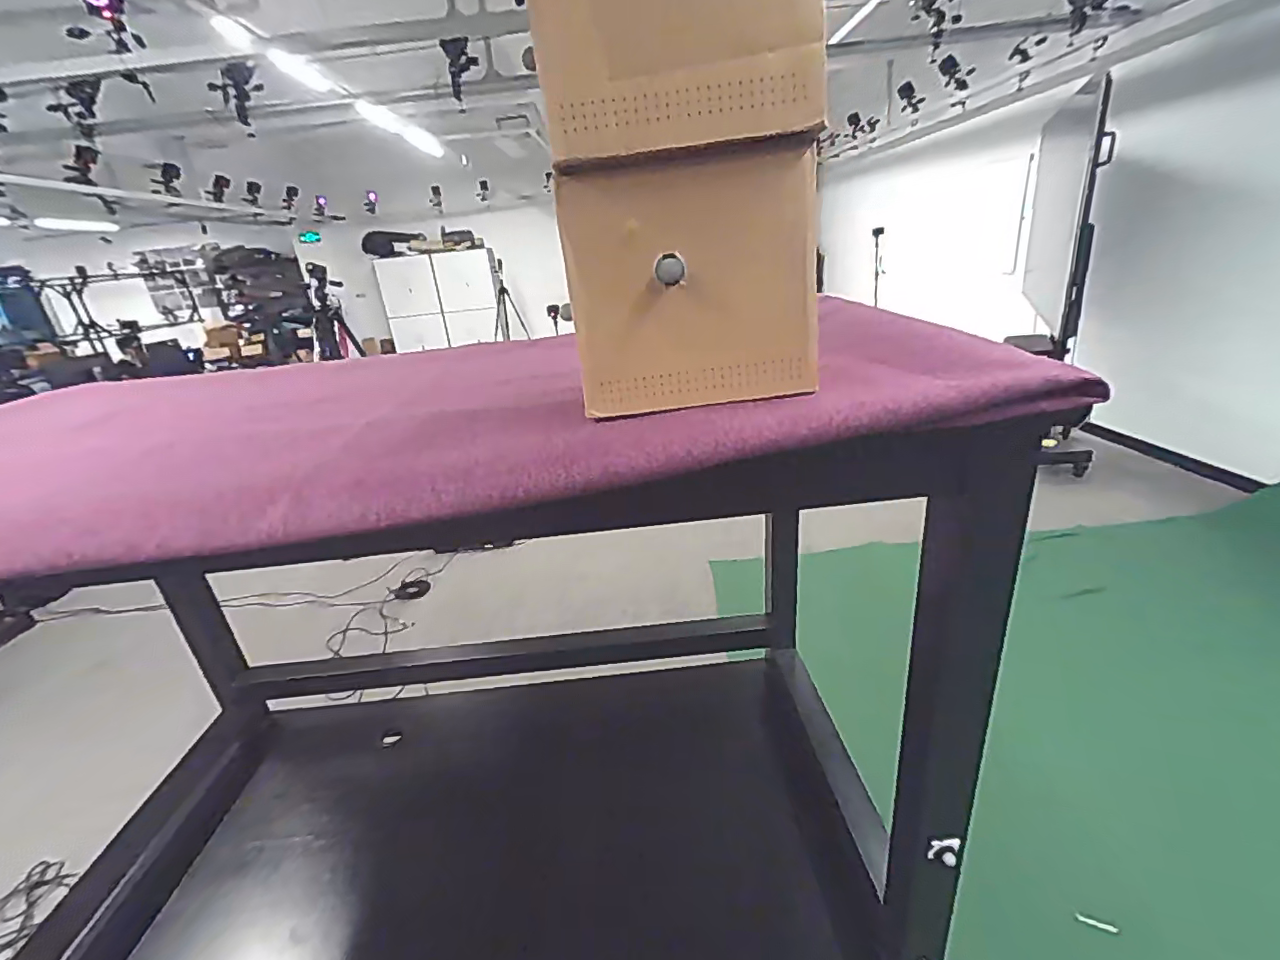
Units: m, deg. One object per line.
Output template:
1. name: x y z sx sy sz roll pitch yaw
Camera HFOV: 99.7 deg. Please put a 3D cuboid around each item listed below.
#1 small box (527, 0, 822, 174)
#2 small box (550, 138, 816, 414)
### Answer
1. small box: 0.018 -0.305 0.381 0.179 0.176 0.168 -7 20 1
2. small box: 0.036 -0.158 0.450 0.179 0.176 0.168 -7 21 1
